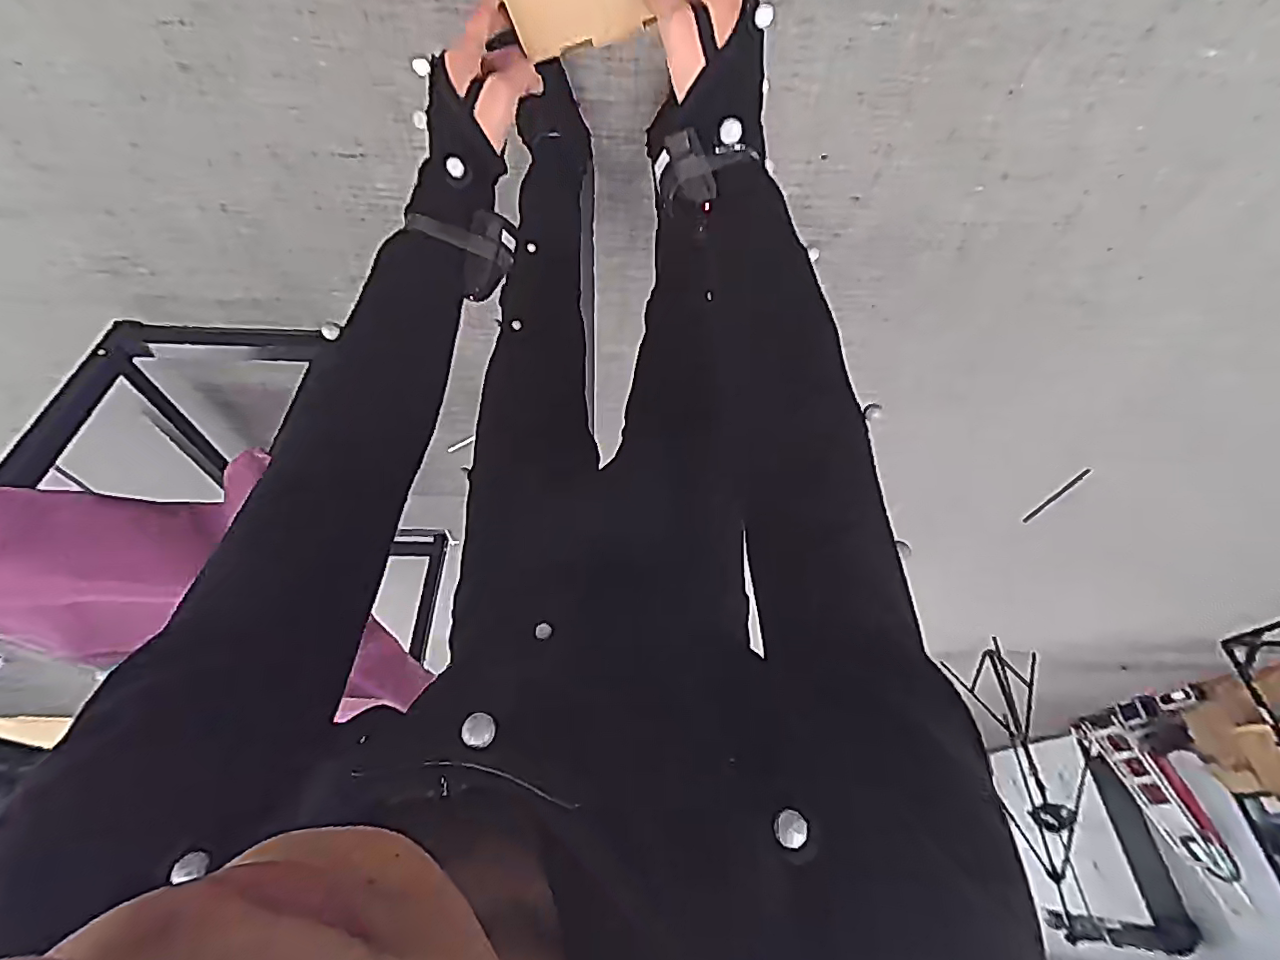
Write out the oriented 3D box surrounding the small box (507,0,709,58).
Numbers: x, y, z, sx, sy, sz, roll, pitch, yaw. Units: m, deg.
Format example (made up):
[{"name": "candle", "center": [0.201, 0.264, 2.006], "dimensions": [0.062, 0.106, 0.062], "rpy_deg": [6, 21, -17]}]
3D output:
[{"name": "small box", "center": [-0.033, -0.485, 0.426], "dimensions": [0.168, 0.176, 0.179], "rpy_deg": [-5, 142, 17]}]
